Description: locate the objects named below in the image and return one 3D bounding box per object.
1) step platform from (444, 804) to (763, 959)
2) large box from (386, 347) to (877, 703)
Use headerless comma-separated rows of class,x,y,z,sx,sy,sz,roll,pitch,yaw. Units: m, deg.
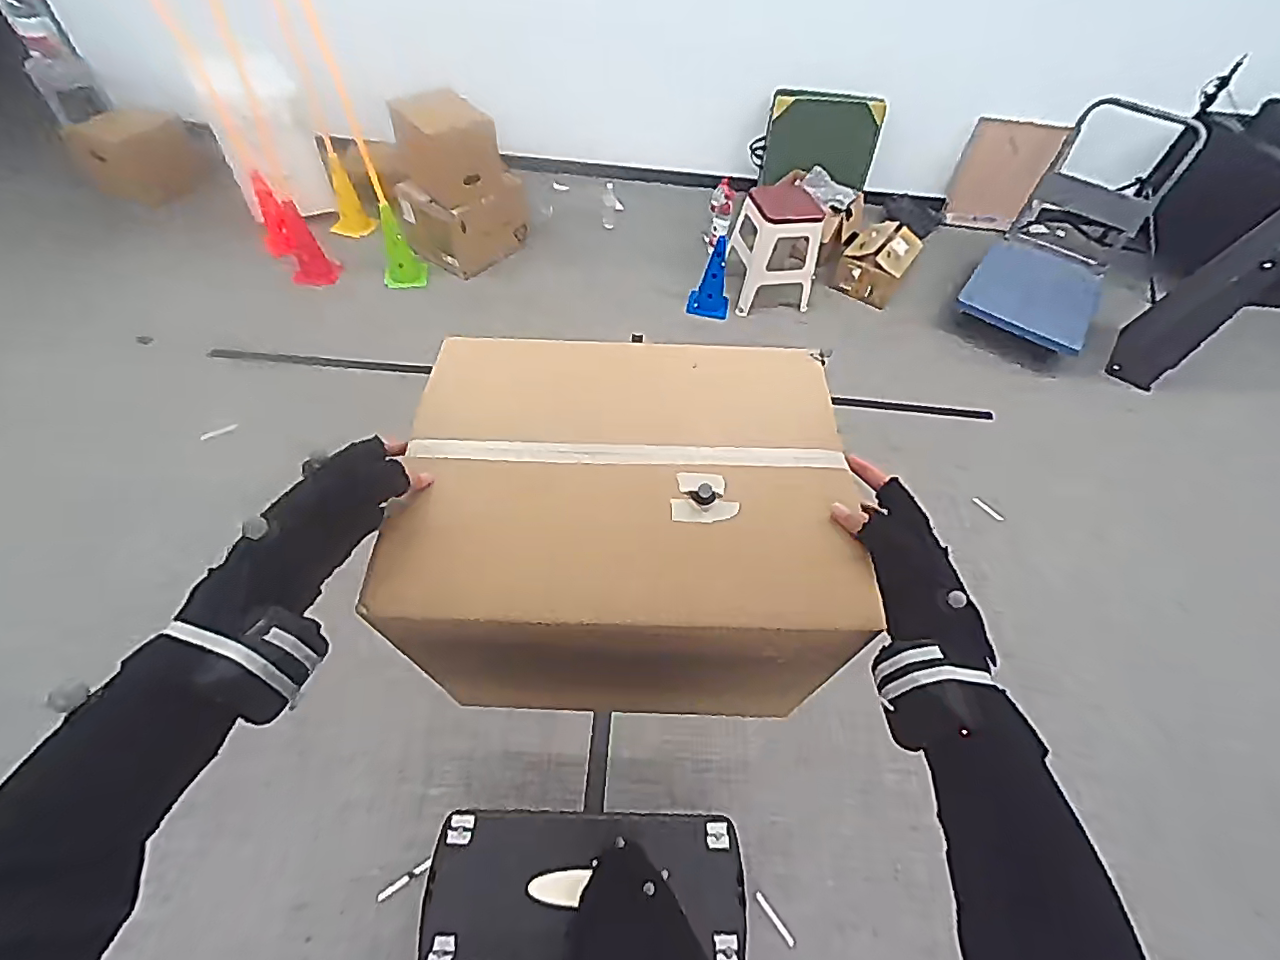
step platform,-0.075,0.899,1.211,0.684,0.204,0.286,3,53,-4
large box,-0.010,0.067,0.636,0.408,0.320,0.320,2,56,-1
